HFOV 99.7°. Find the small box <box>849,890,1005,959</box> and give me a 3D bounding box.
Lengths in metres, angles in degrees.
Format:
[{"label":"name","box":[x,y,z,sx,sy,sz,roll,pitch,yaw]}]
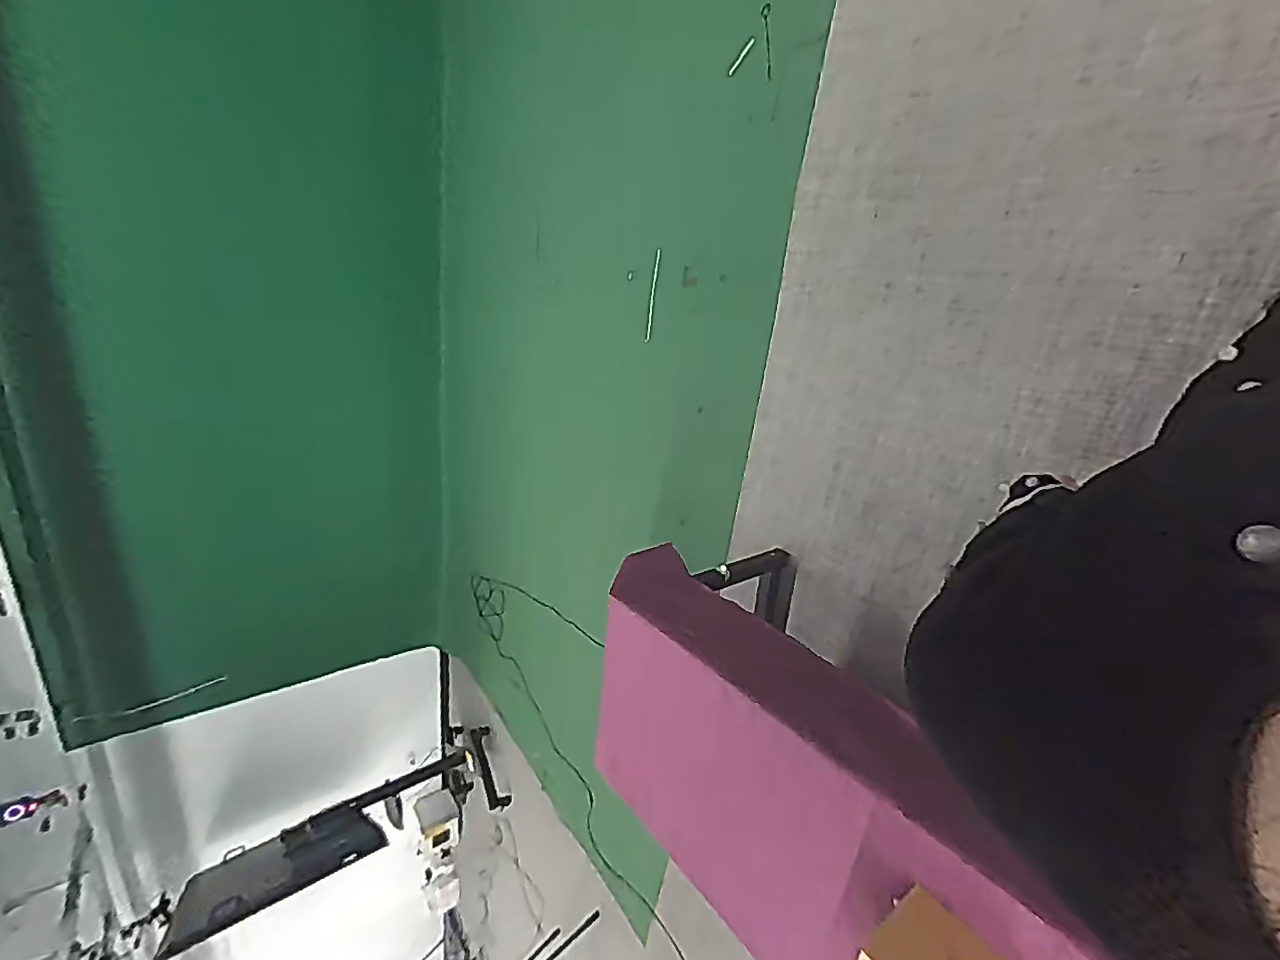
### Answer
[{"label":"small box","box":[0.421,0.756,0.794,0.179,0.176,0.168,26,117,45]}]
